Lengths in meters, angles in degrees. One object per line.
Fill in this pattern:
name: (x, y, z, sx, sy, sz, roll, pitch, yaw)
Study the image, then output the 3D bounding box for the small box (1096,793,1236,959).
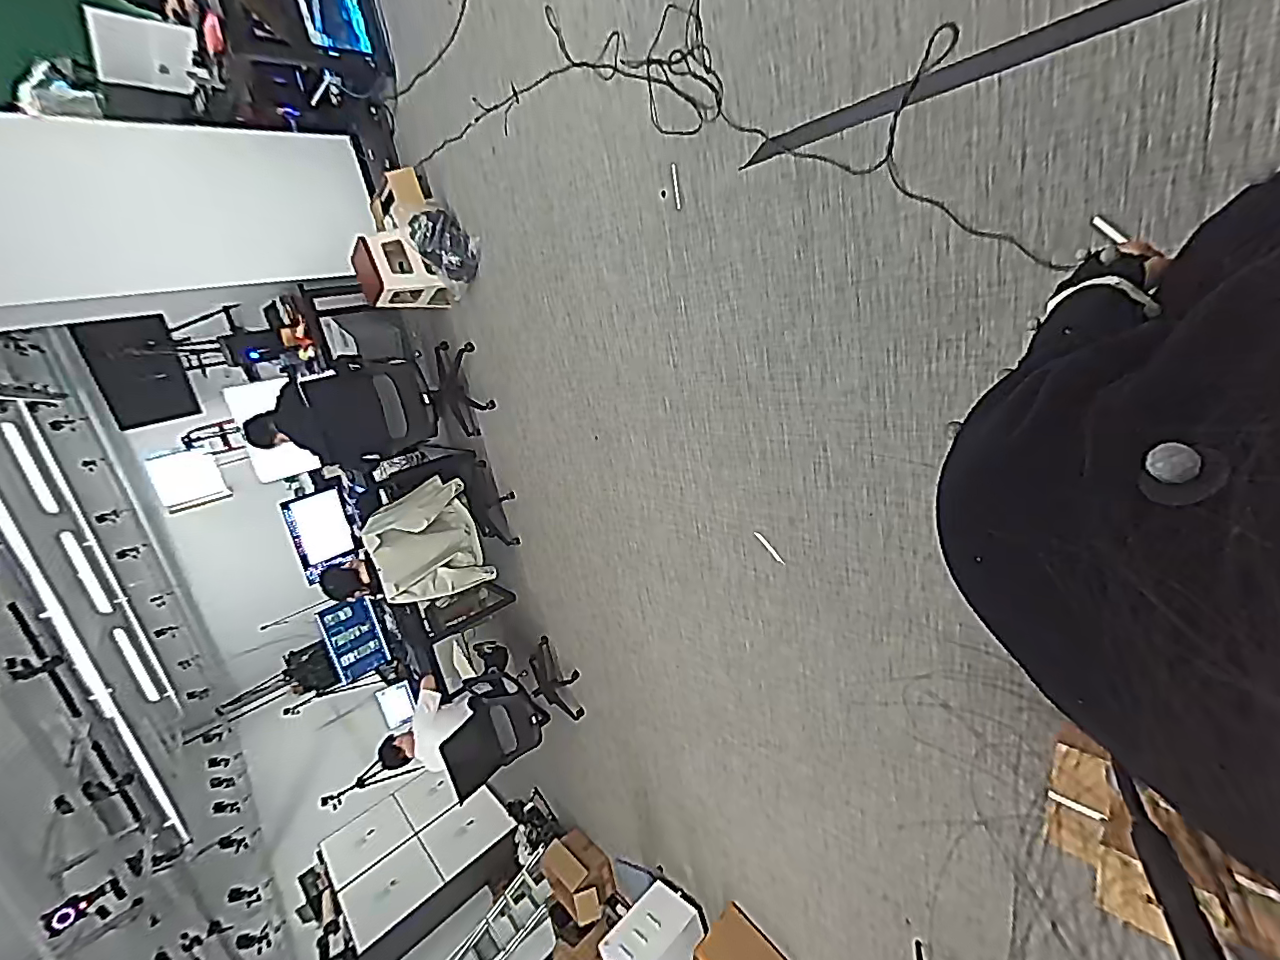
small box: (1.025, 0.760, 1.056, 0.179, 0.176, 0.168, 8, 114, 49)
